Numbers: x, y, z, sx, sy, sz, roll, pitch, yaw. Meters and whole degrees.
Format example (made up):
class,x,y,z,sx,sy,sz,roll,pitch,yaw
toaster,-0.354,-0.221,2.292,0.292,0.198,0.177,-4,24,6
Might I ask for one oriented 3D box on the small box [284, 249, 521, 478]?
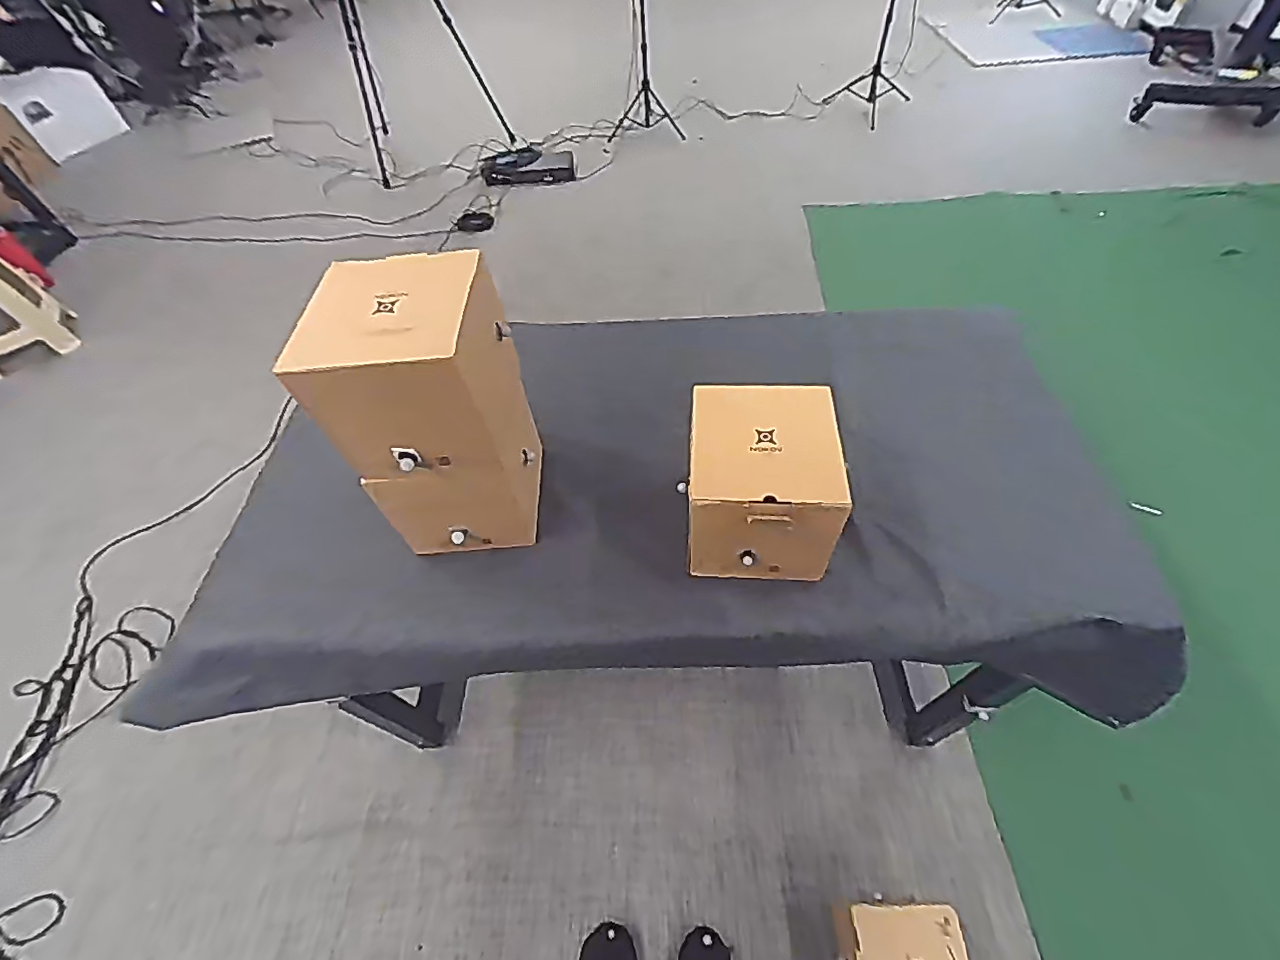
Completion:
class,x,y,z,sx,sy,sz,roll,pitch,yaw
small box,-0.234,-0.123,0.590,0.168,0.176,0.179,-5,54,2

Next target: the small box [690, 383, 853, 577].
class,x,y,z,sx,sy,sz,roll,pitch,yaw
small box,0.148,0.001,0.672,0.168,0.176,0.179,1,53,5

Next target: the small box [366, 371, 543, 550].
class,x,y,z,sx,sy,sz,roll,pitch,yaw
small box,-0.228,-0.026,0.720,0.168,0.176,0.179,-5,53,1

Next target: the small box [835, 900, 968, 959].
class,x,y,z,sx,sy,sz,roll,pitch,yaw
small box,0.449,0.834,0.934,0.179,0.176,0.168,-2,52,3
